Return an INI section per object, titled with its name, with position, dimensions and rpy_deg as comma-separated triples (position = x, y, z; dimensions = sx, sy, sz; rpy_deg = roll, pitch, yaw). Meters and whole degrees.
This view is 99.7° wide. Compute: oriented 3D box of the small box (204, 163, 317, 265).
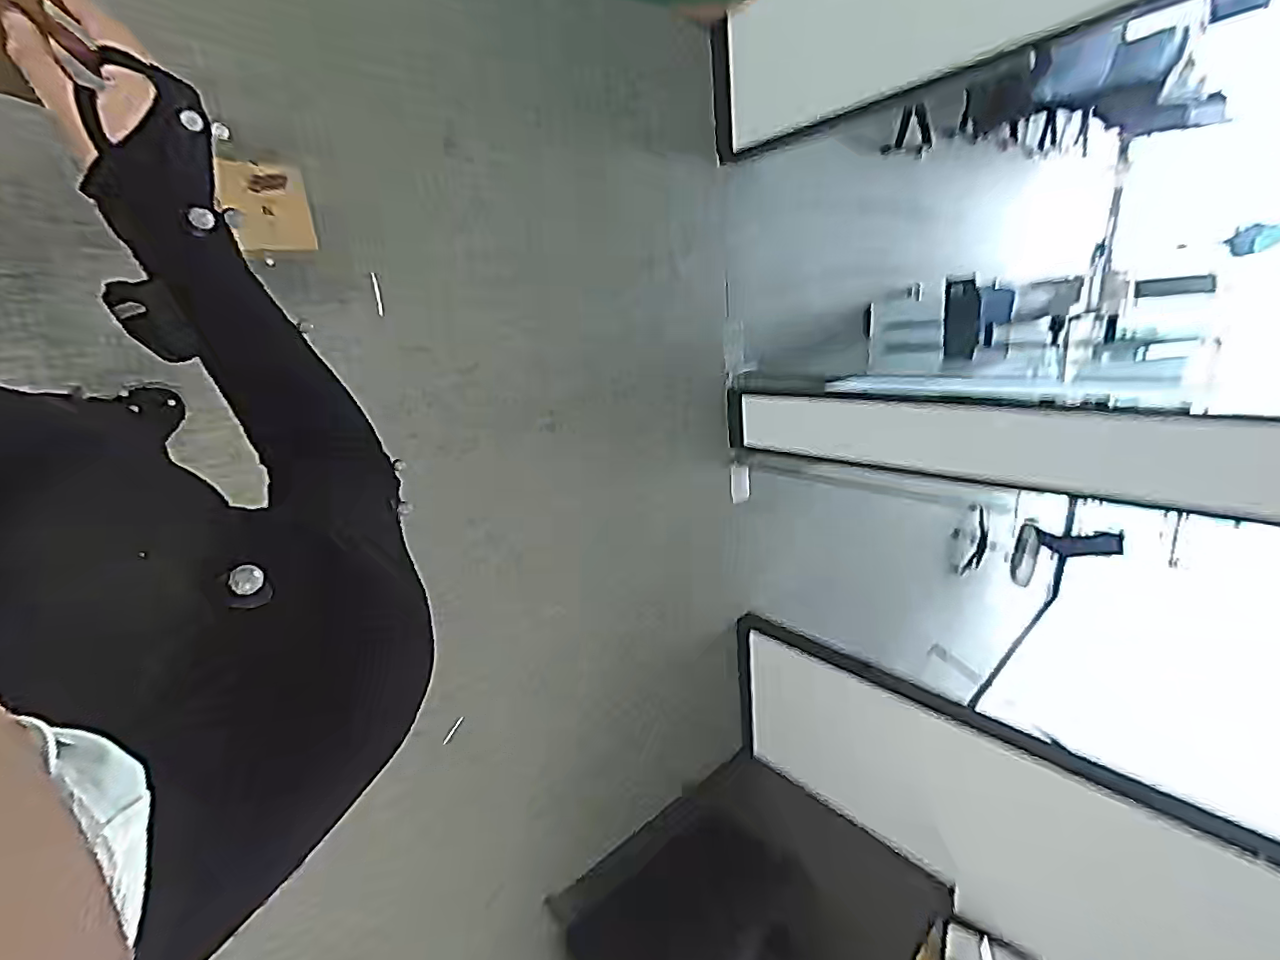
[small box]
position = -0.862, -0.594, 1.227
dimensions = 0.168, 0.176, 0.179
rpy_deg = -19, 112, -37
